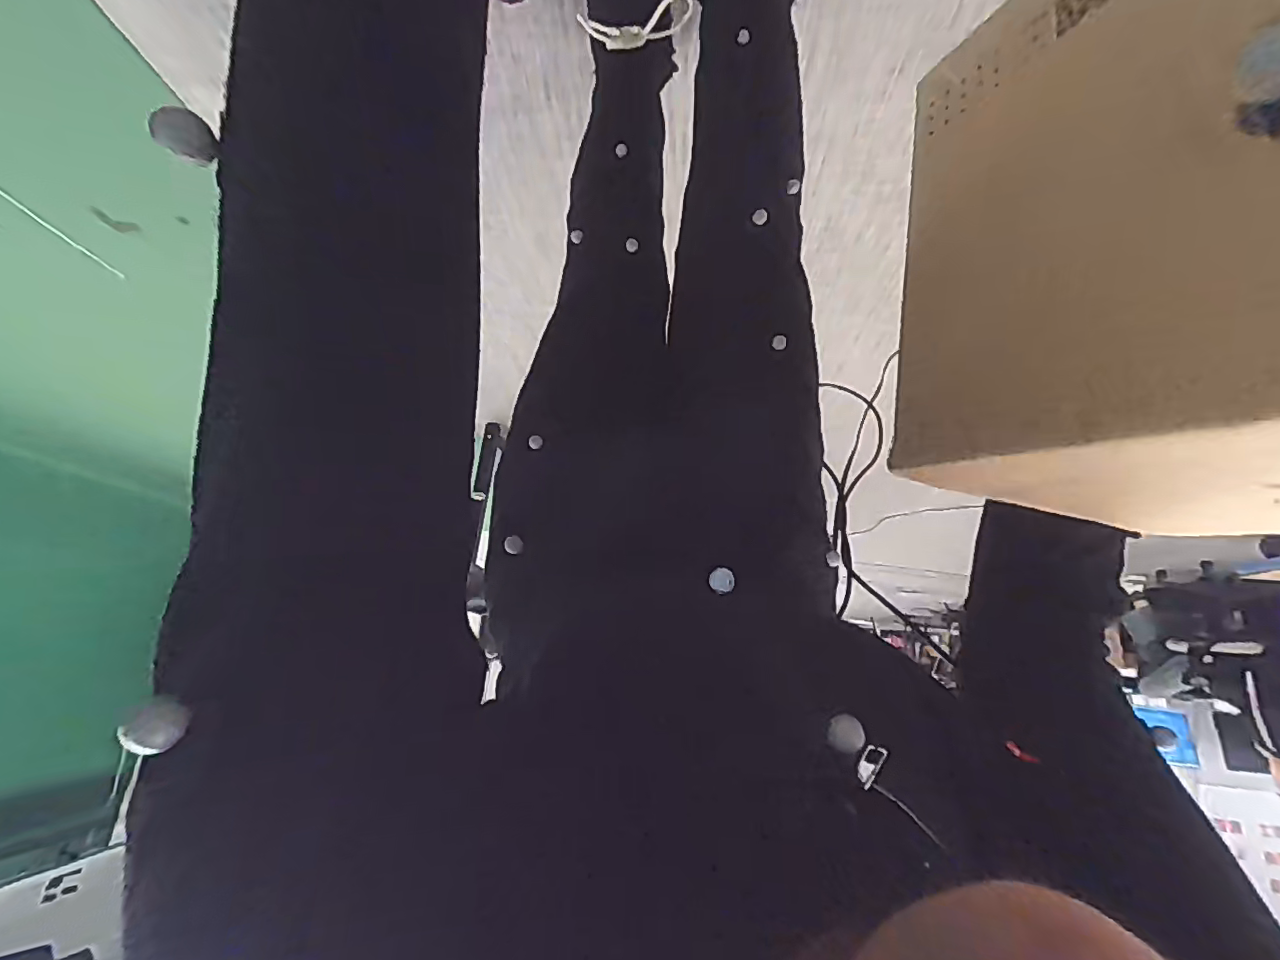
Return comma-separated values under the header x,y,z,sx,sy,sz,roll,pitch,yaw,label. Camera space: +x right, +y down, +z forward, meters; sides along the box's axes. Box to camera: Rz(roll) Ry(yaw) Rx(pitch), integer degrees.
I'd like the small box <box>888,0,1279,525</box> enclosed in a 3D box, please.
x,y,z,sx,sy,sz,roll,pitch,yaw,label
0.207,-0.084,0.170,0.179,0.176,0.168,10,171,-21,small box
